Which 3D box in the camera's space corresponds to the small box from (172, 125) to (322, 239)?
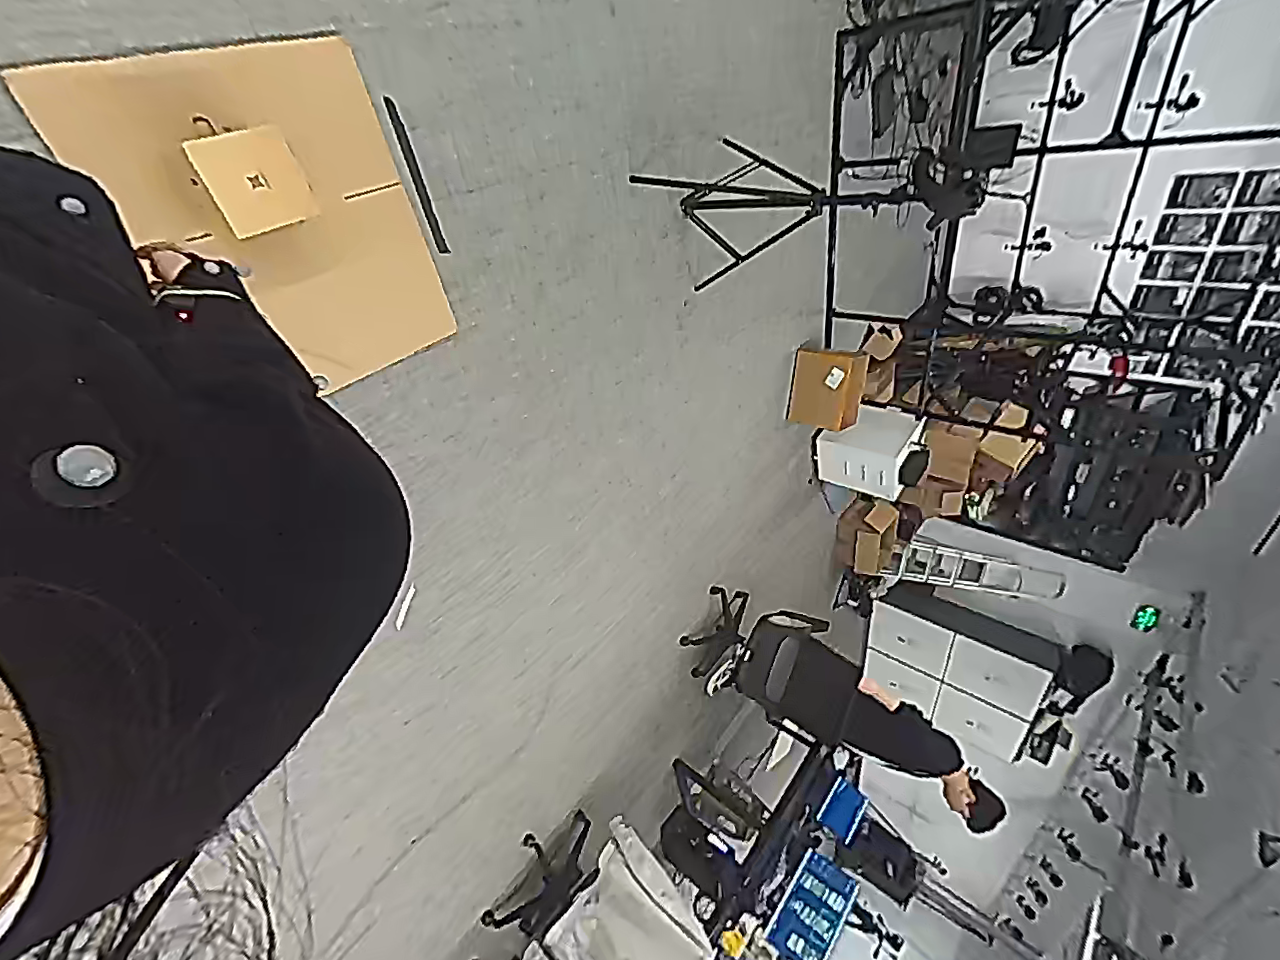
[{"bbox_3d":[-0.794,-0.595,1.090,0.179,0.176,0.168,-41,135,-31],"label":"small box"}]
